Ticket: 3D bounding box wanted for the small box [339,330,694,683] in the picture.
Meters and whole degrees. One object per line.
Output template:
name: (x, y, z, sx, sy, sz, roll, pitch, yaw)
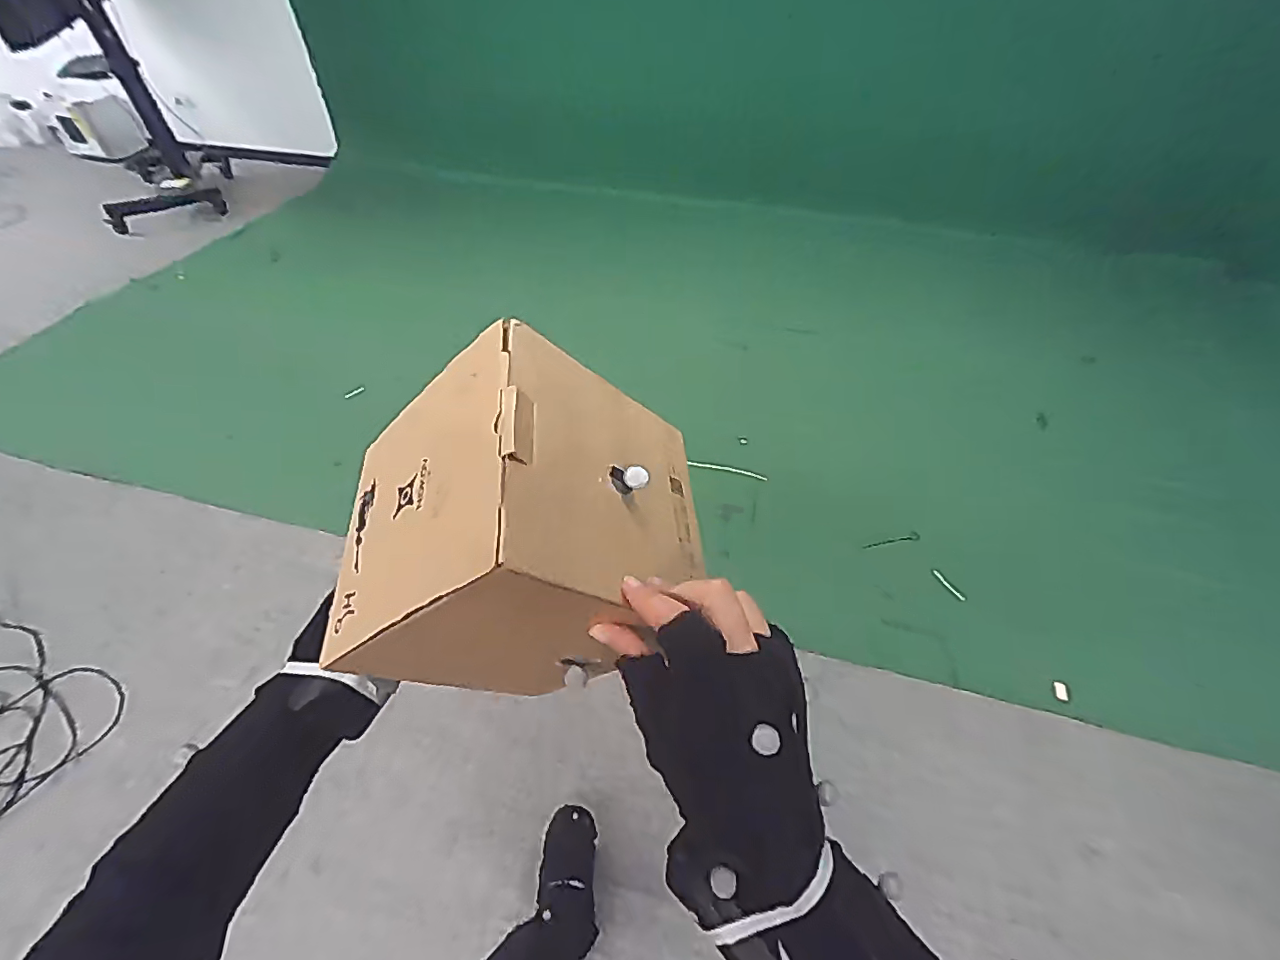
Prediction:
small box: (-0.076, 0.036, 0.387, 0.179, 0.176, 0.168, -29, 50, 30)
